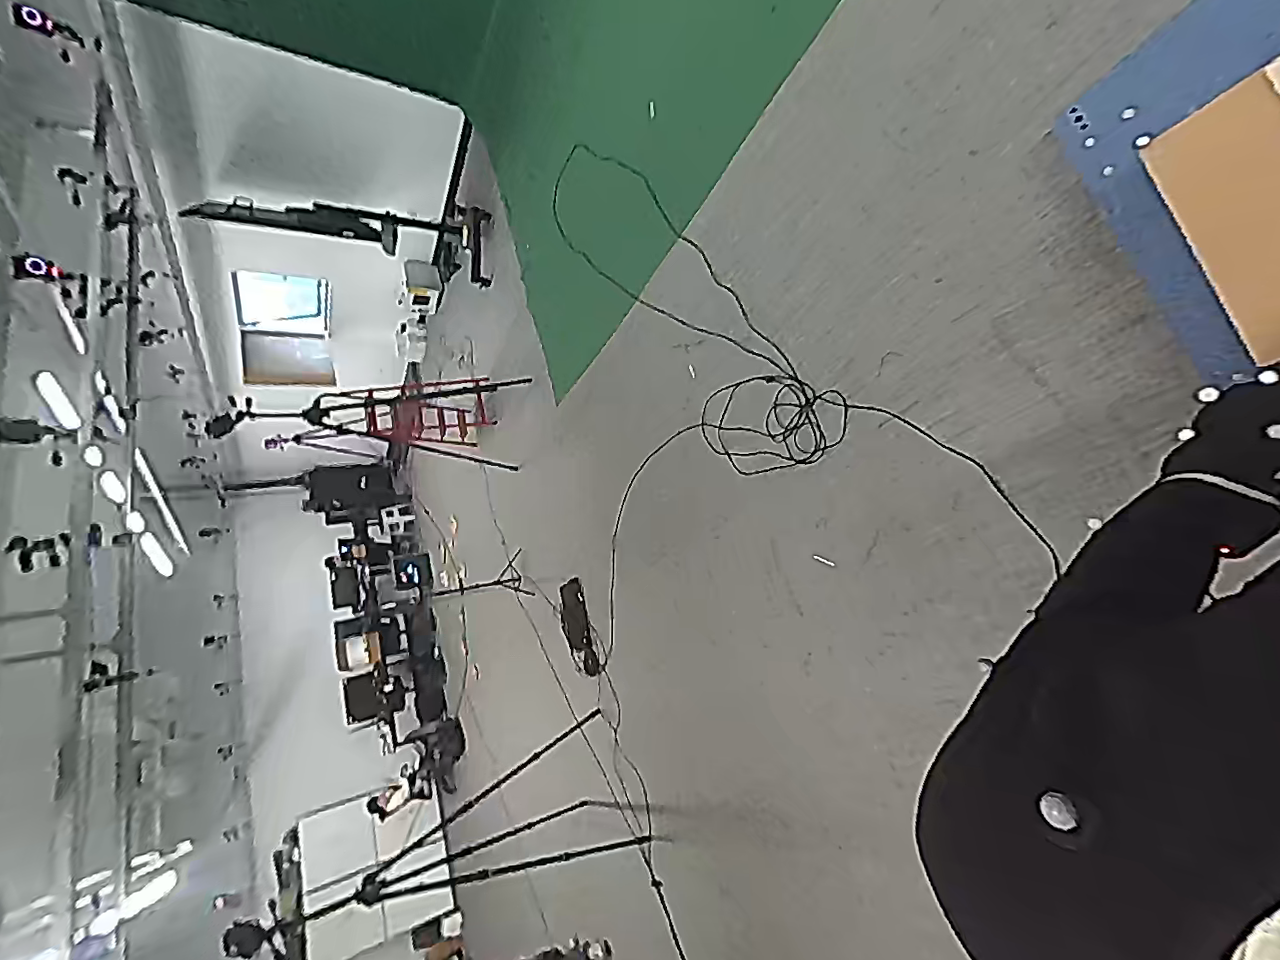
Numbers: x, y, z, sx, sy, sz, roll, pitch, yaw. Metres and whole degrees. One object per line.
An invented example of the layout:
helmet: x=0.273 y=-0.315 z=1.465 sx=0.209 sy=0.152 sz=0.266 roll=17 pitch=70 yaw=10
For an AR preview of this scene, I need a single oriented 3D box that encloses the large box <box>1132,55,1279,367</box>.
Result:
large box: x=1.067 y=-0.419 z=0.812 sx=0.320 sy=0.320 sz=0.408 roll=-33 pitch=67 yaw=53
